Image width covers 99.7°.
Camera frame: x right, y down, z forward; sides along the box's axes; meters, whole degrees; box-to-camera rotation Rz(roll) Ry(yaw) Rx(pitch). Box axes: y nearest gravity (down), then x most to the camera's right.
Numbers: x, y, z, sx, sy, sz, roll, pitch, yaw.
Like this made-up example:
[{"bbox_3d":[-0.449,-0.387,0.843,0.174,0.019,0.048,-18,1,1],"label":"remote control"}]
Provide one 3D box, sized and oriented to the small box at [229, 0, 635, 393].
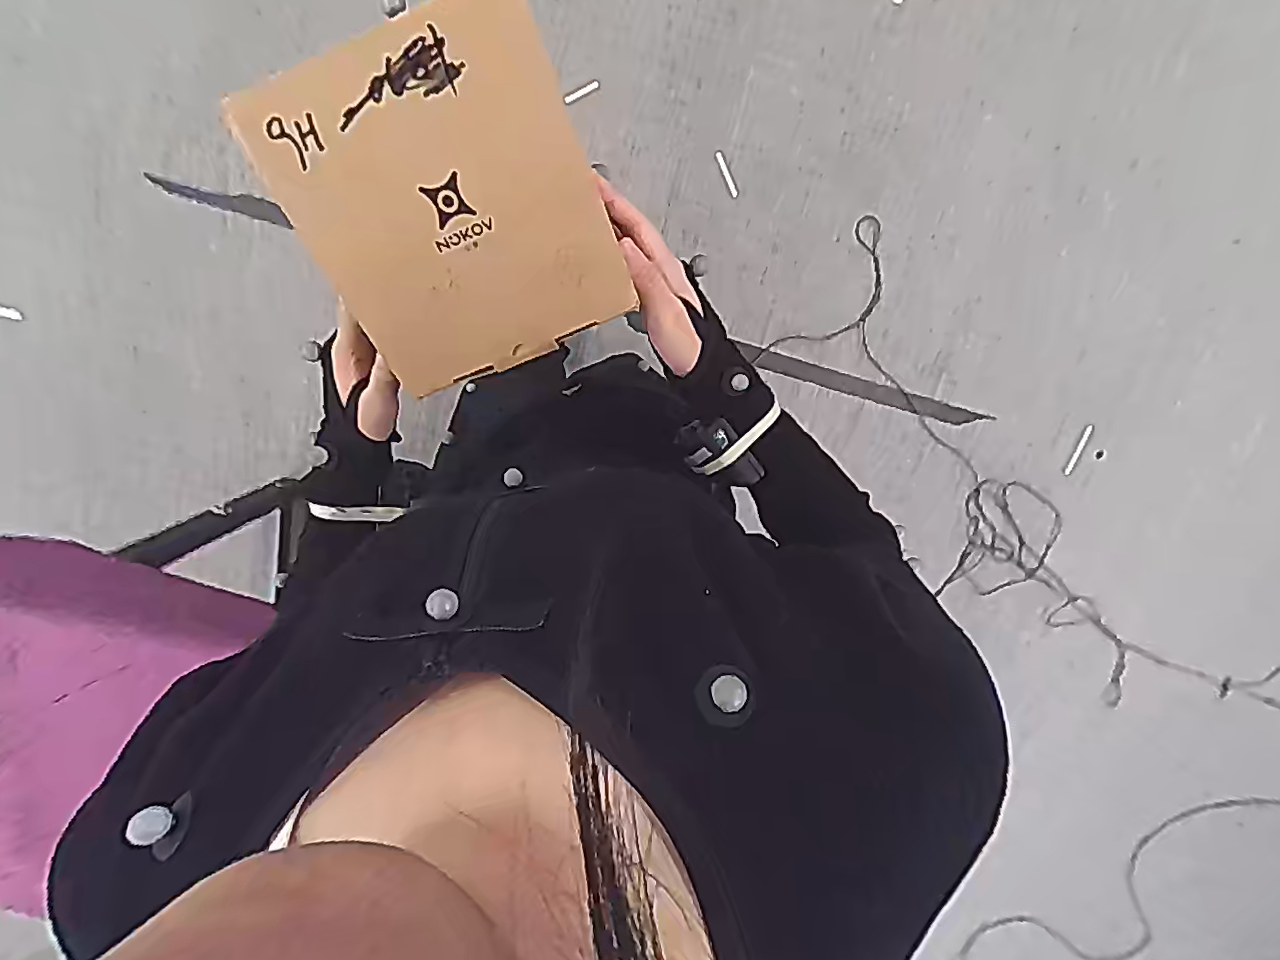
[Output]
[{"bbox_3d":[-0.114,-0.193,0.377,0.168,0.176,0.179,-21,123,4],"label":"small box"}]
